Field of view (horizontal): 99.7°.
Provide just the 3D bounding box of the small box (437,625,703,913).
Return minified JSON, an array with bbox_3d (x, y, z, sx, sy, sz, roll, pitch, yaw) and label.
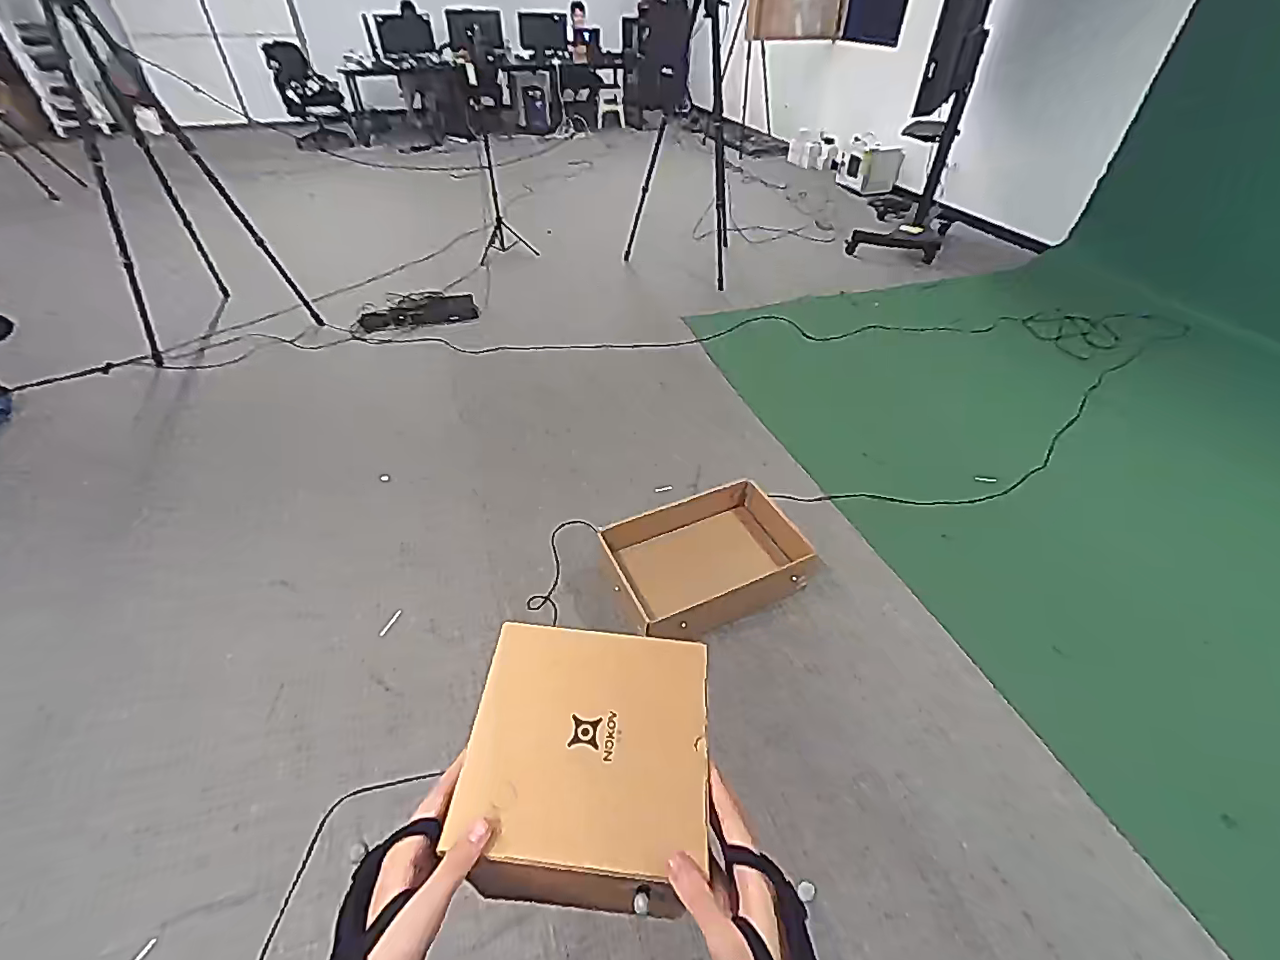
[{"bbox_3d":[-0.045,0.248,0.462,0.179,0.176,0.168,7,44,0],"label":"small box"}]
